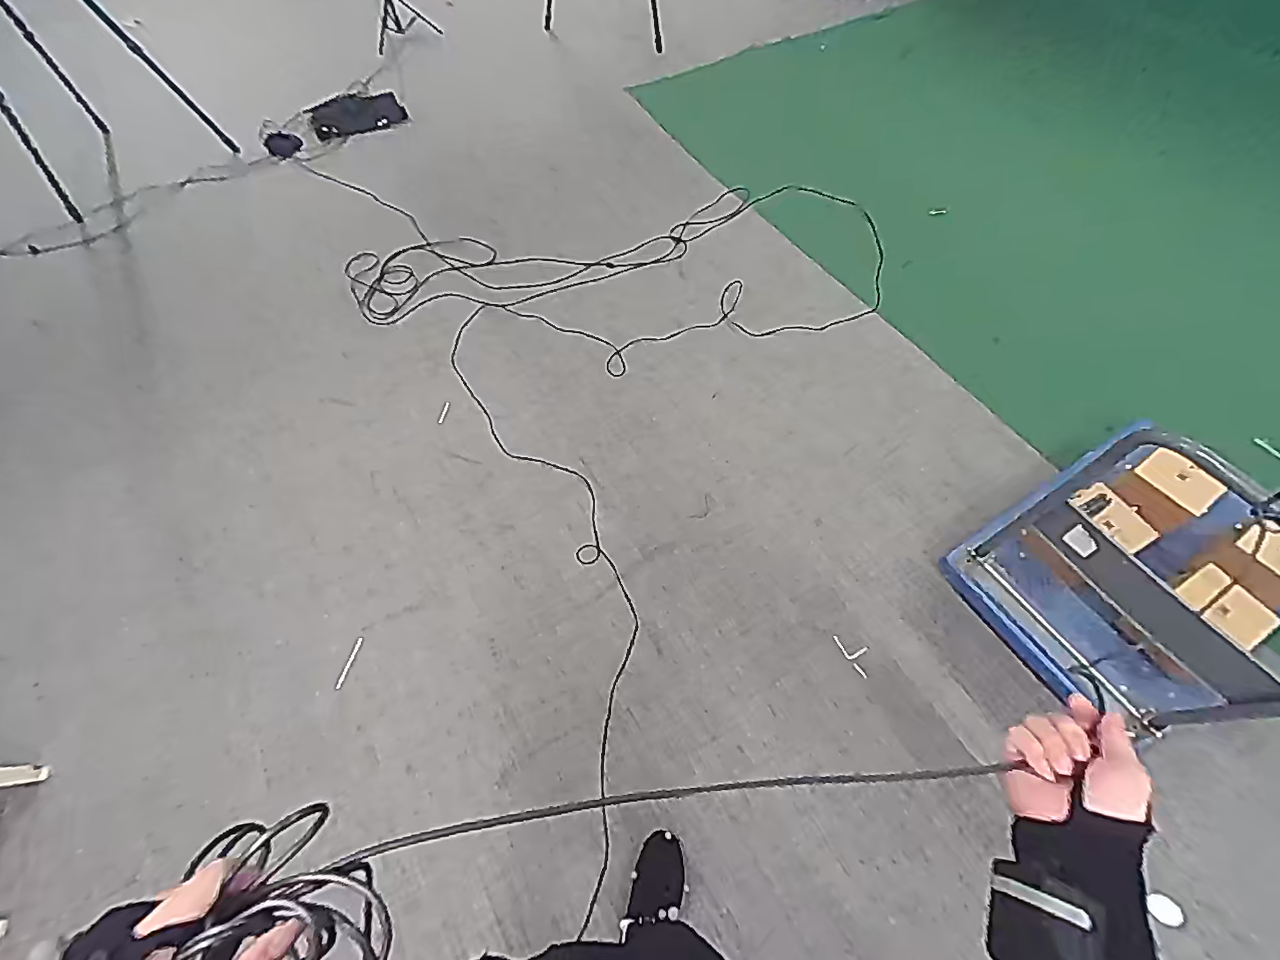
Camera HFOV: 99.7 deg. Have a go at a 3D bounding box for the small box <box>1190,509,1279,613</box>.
[{"bbox_3d":[1.525,0.208,1.320,0.179,0.176,0.168,-33,62,-15],"label":"small box"}]

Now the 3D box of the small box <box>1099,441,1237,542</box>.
[{"bbox_3d":[1.379,0.035,1.430,0.179,0.176,0.168,-32,64,-15],"label":"small box"}]

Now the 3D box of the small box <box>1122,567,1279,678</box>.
[{"bbox_3d":[1.295,0.335,1.257,0.179,0.176,0.168,-28,62,-13],"label":"small box"}]
